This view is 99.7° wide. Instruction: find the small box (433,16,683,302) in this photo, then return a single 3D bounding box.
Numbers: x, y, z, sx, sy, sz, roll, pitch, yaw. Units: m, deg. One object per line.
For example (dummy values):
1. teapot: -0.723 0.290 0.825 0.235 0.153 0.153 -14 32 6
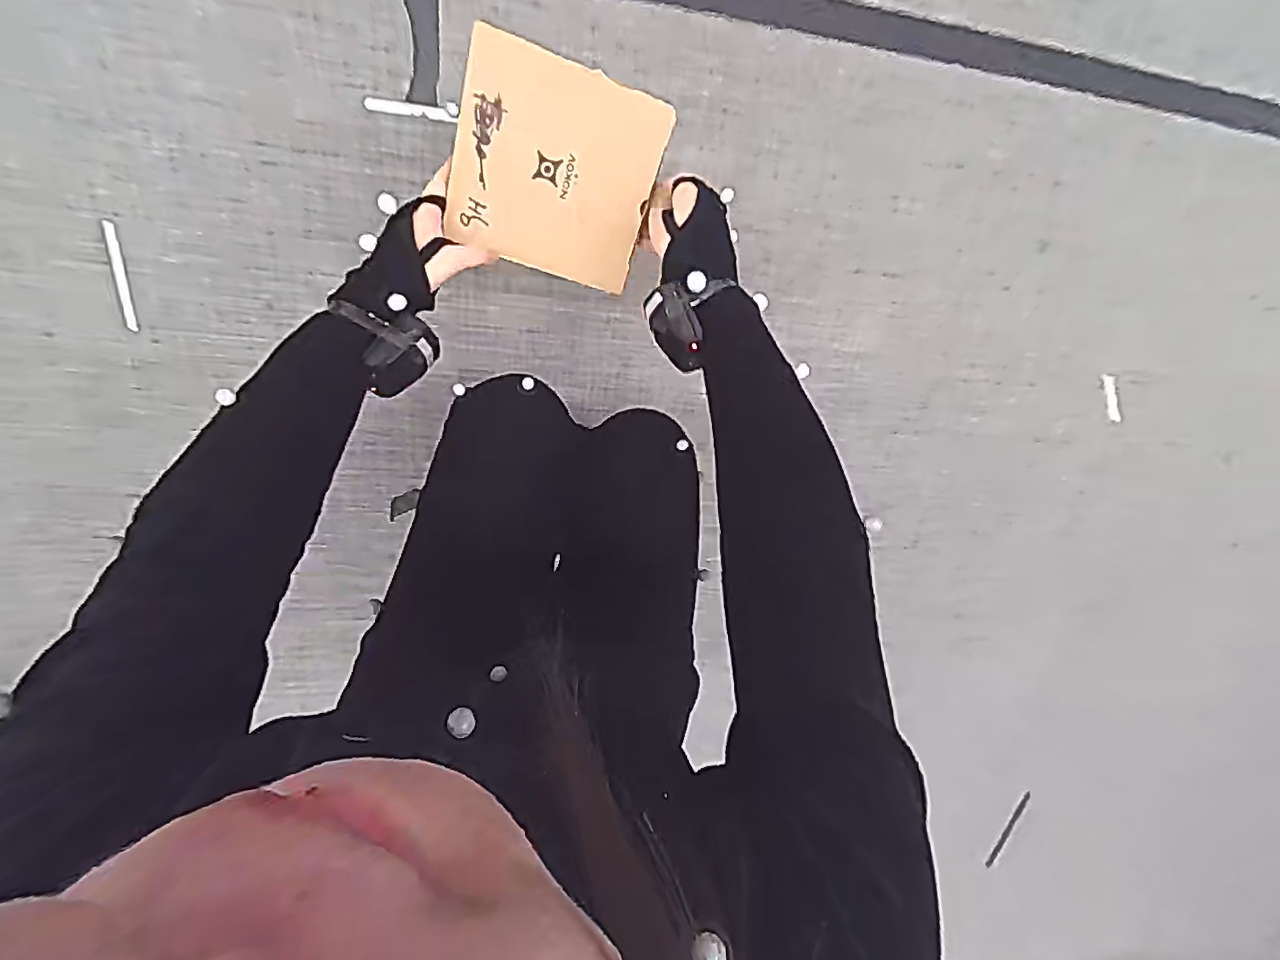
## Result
1. small box: -0.082 -0.295 0.522 0.179 0.176 0.168 14 116 -17
